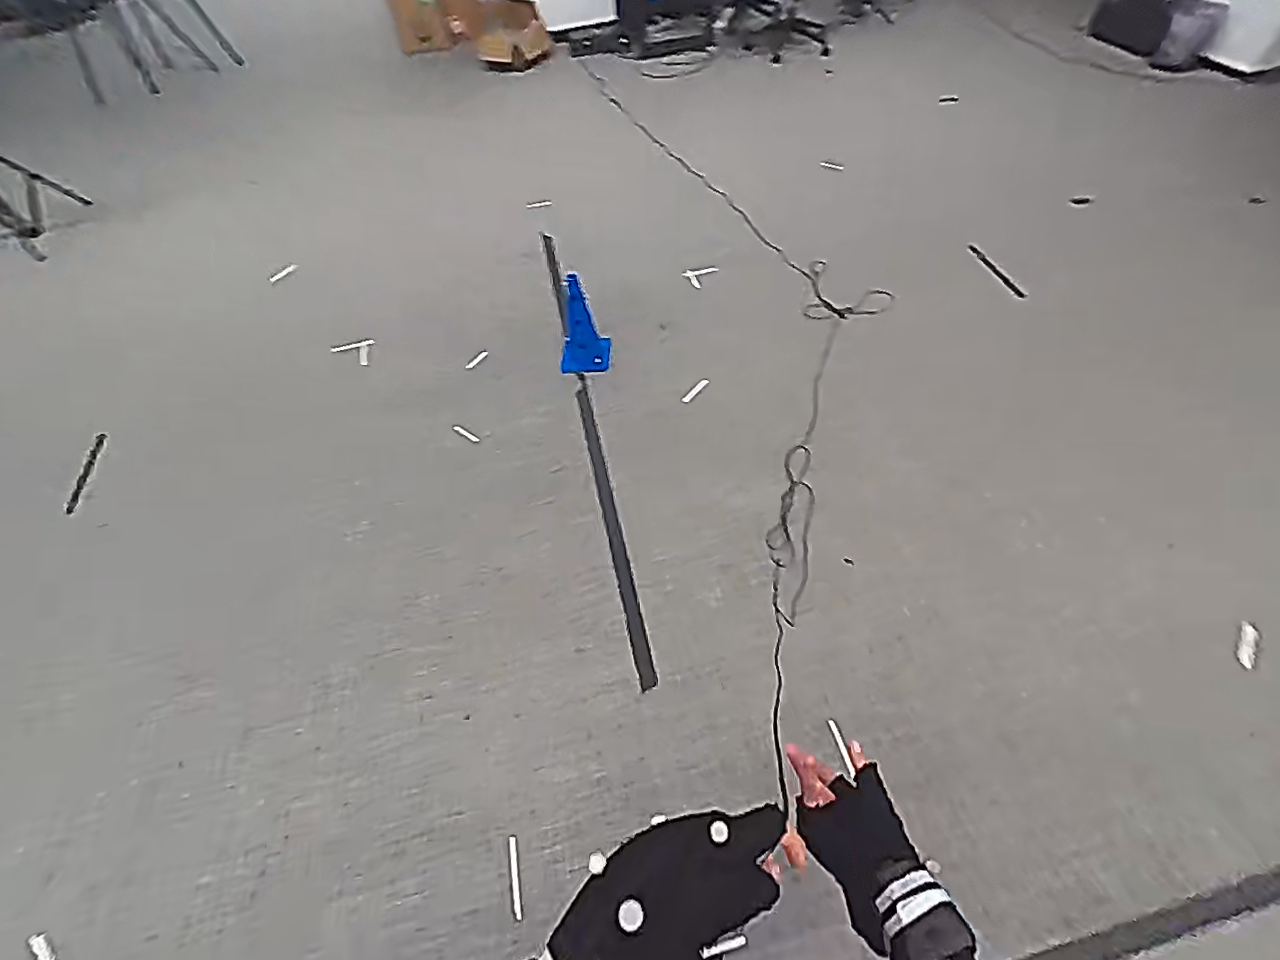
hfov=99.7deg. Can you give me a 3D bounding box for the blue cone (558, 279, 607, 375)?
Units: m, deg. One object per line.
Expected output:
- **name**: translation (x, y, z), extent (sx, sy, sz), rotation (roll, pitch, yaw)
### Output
- **blue cone**: translation (-0.244, -0.589, 2.054), extent (0.192, 0.380, 0.193), rotation (0, 54, 6)
